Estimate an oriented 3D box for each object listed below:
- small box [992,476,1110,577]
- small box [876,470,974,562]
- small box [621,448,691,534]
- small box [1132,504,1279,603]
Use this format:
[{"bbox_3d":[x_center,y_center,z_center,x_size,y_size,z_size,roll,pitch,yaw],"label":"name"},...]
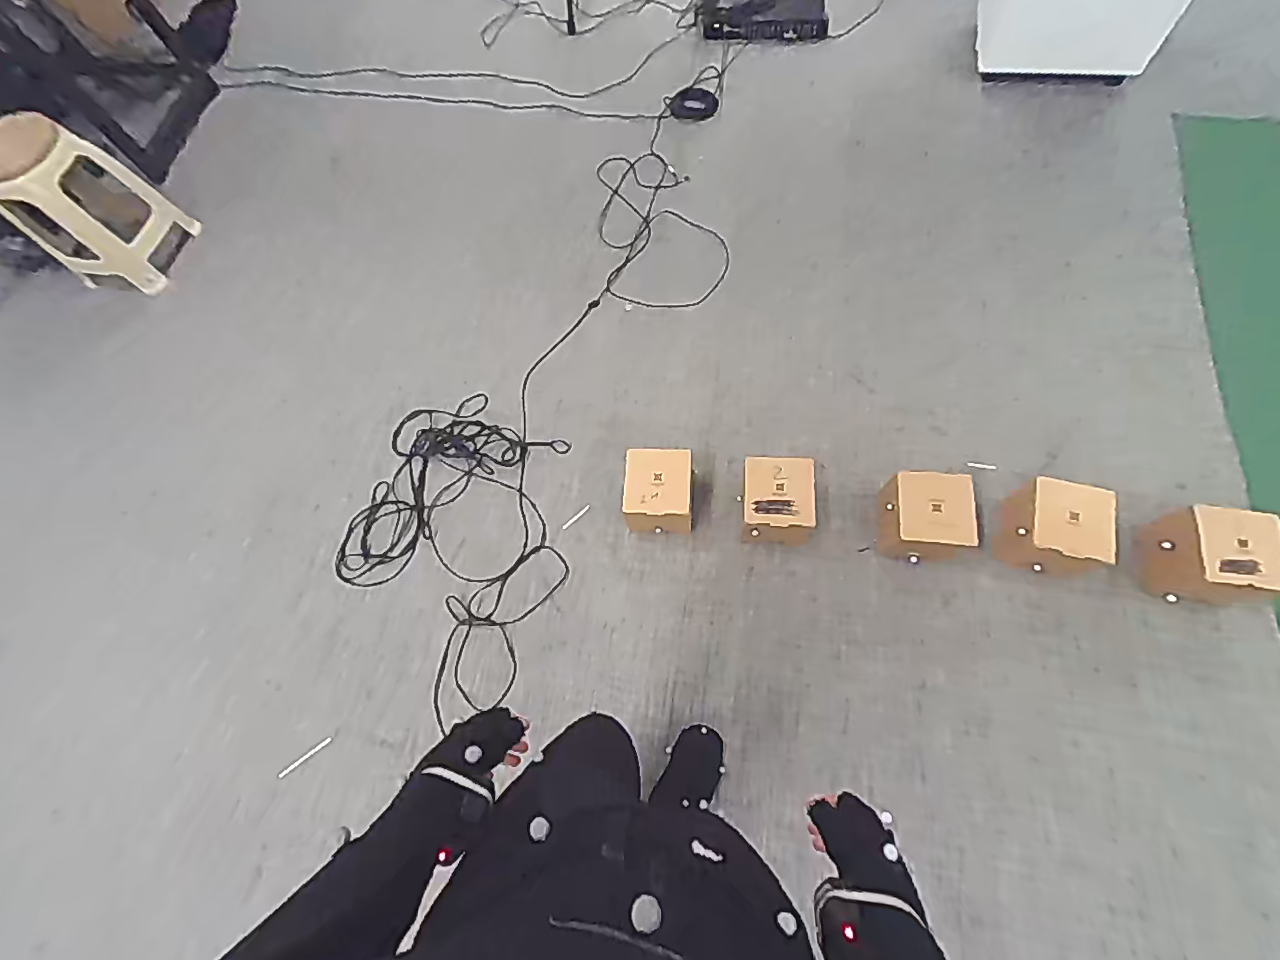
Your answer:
[{"bbox_3d":[0.967,0.115,1.283,0.168,0.176,0.179,13,71,11],"label":"small box"},{"bbox_3d":[0.685,0.090,1.322,0.168,0.176,0.179,4,70,9],"label":"small box"},{"bbox_3d":[0.047,0.031,1.412,0.168,0.176,0.179,1,69,7],"label":"small box"},{"bbox_3d":[1.276,0.173,1.228,0.168,0.176,0.179,8,69,9],"label":"small box"}]
